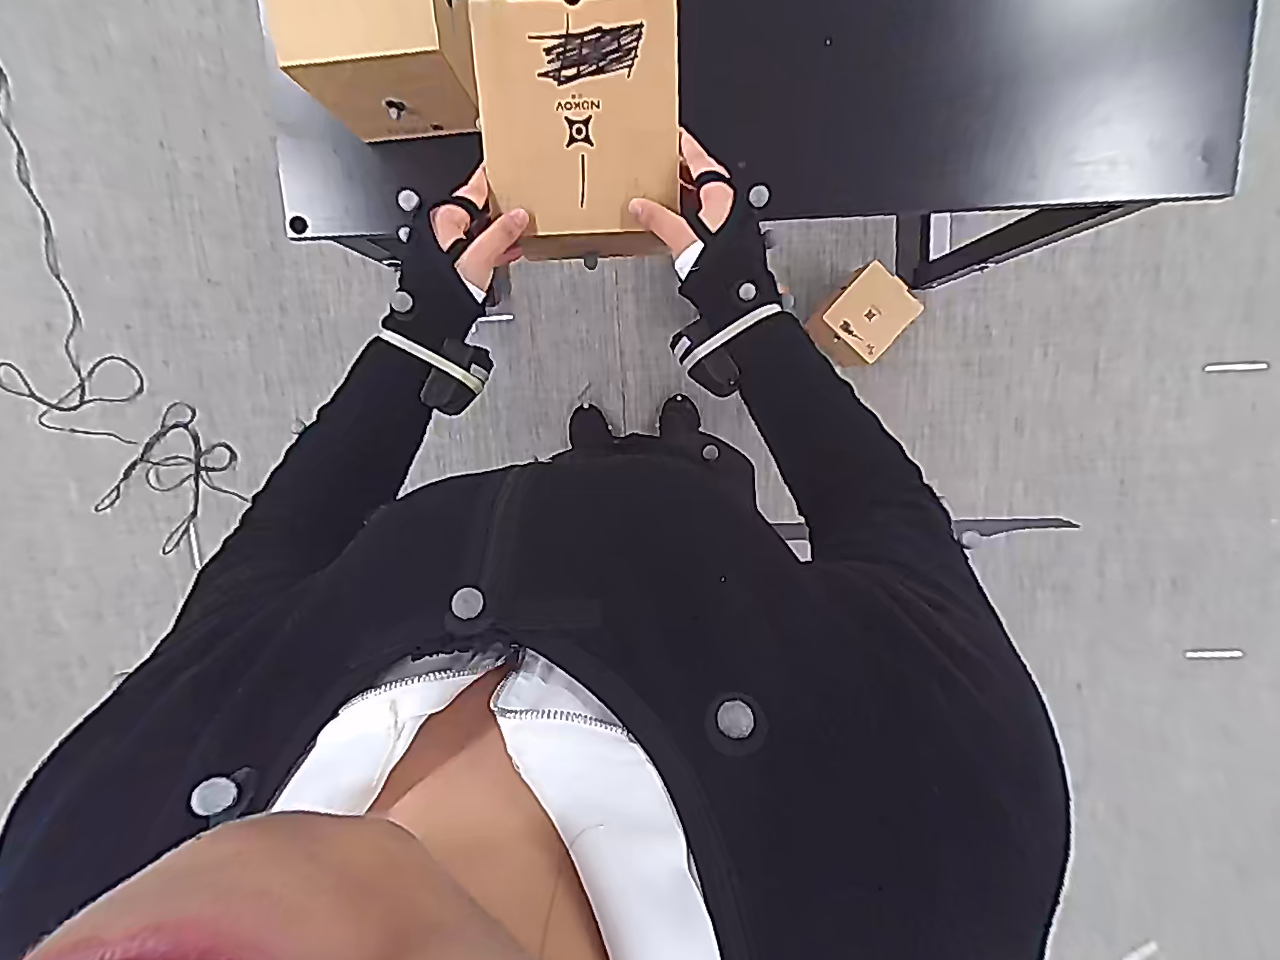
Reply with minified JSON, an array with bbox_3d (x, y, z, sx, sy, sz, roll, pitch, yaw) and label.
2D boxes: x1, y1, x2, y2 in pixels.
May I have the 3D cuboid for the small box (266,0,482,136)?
[{"bbox_3d":[-0.282,-0.508,0.598,0.168,0.176,0.179,-5,99,1],"label":"small box"}]

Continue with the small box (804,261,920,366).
[{"bbox_3d":[0.536,-0.401,1.334,0.168,0.176,0.179,41,98,-5],"label":"small box"}]

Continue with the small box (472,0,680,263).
[{"bbox_3d":[-0.051,-0.316,0.524,0.168,0.176,0.179,-2,106,1],"label":"small box"}]

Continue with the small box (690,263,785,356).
[{"bbox_3d":[0.233,-0.414,1.342,0.179,0.176,0.168,19,99,-1],"label":"small box"}]
